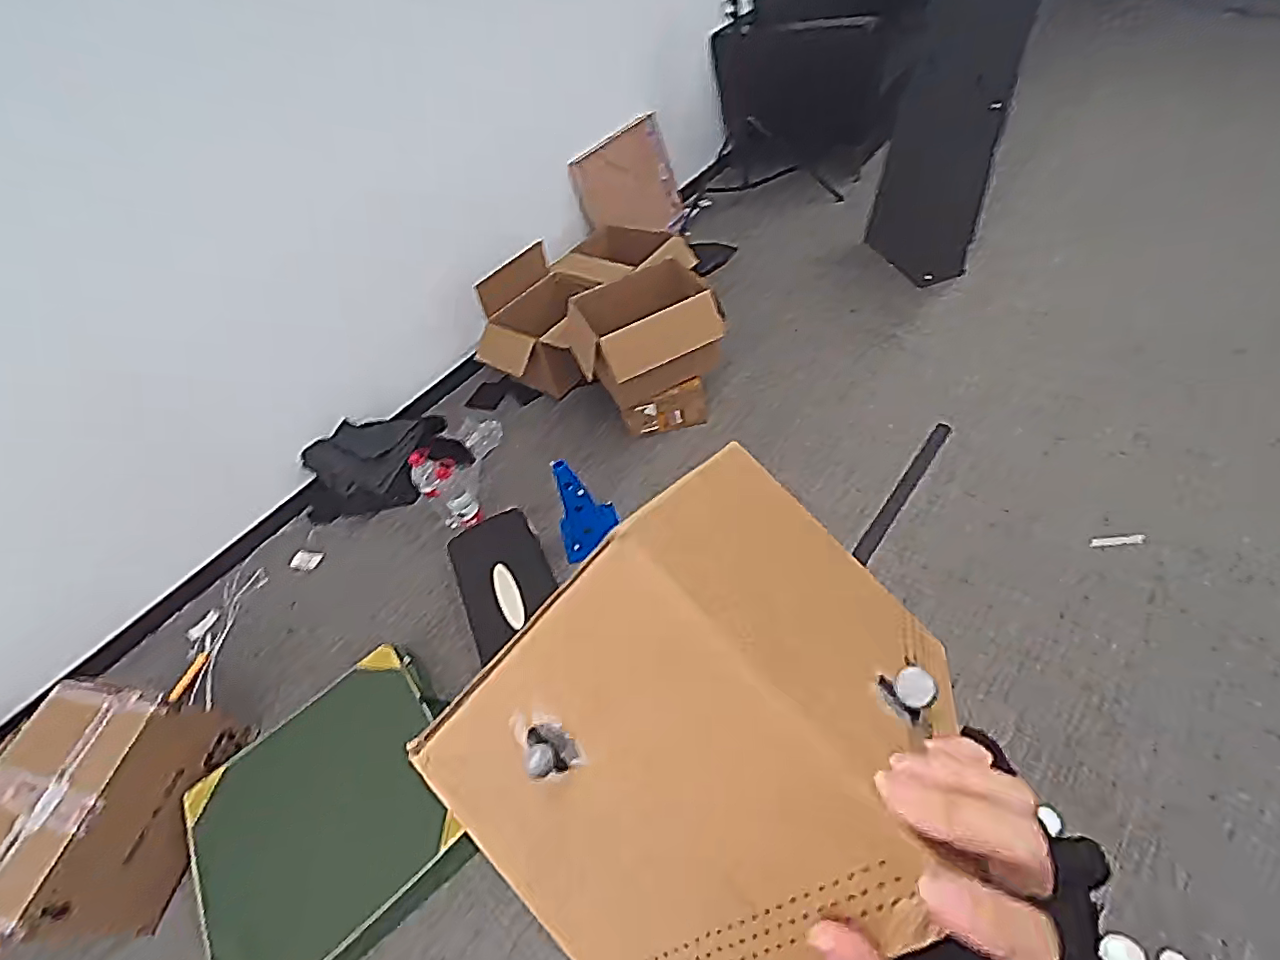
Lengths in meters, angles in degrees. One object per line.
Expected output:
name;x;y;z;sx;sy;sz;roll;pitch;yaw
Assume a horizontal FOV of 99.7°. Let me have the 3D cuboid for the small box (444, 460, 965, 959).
small box;0.036;0.122;0.297;0.176;0.179;0.168;45;29;7
